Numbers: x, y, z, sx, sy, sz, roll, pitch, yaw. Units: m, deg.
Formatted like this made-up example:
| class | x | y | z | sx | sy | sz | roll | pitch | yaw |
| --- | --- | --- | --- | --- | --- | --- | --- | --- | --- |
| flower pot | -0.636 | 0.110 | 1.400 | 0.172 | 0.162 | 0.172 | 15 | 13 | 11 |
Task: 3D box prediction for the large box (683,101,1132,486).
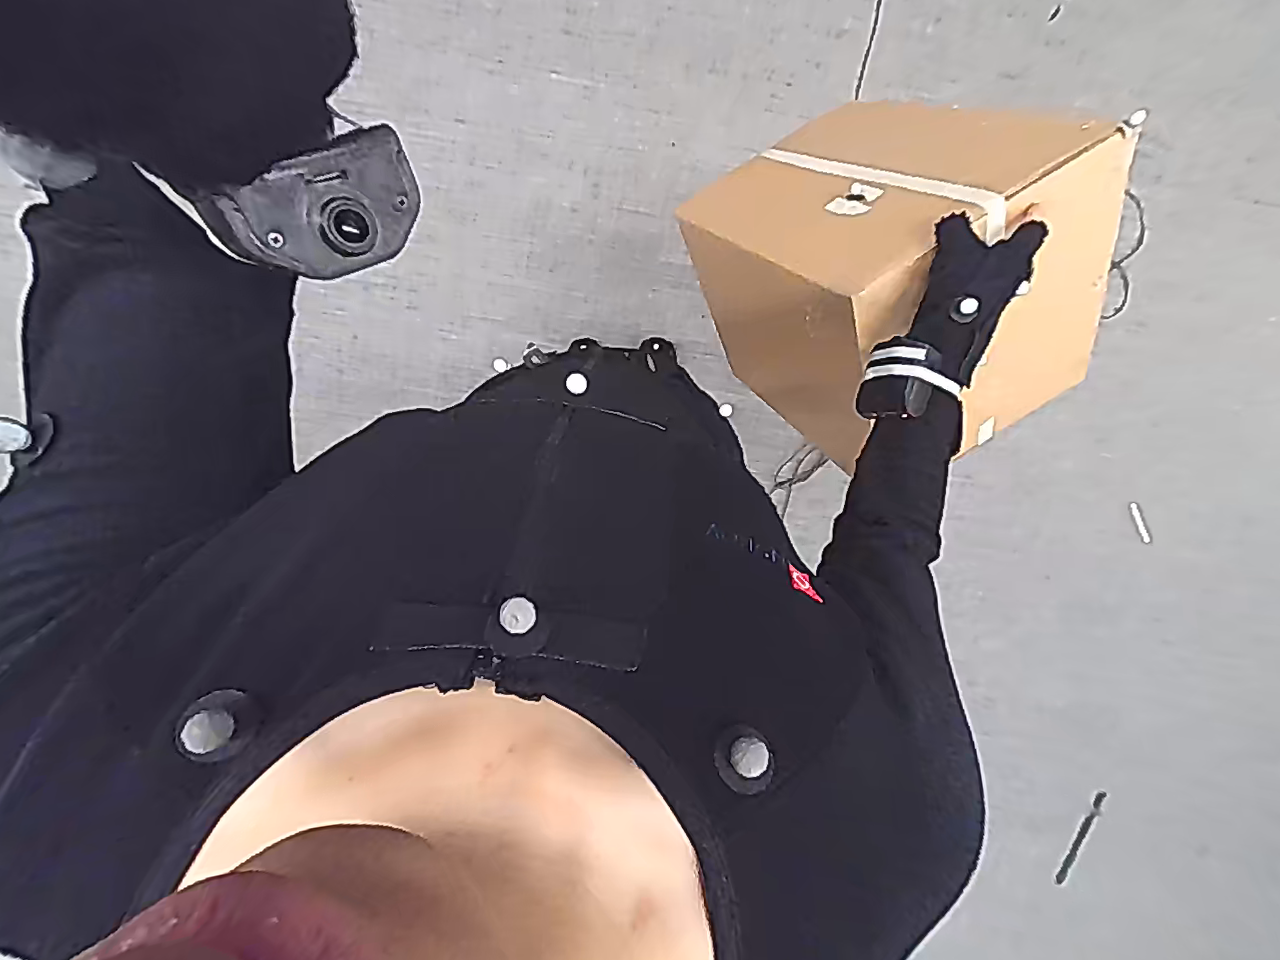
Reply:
| class | x | y | z | sx | sy | sz | roll | pitch | yaw |
| --- | --- | --- | --- | --- | --- | --- | --- | --- | --- |
| large box | 0.316 | -0.270 | 0.749 | 0.320 | 0.408 | 0.320 | -32 | 133 | 1 |
